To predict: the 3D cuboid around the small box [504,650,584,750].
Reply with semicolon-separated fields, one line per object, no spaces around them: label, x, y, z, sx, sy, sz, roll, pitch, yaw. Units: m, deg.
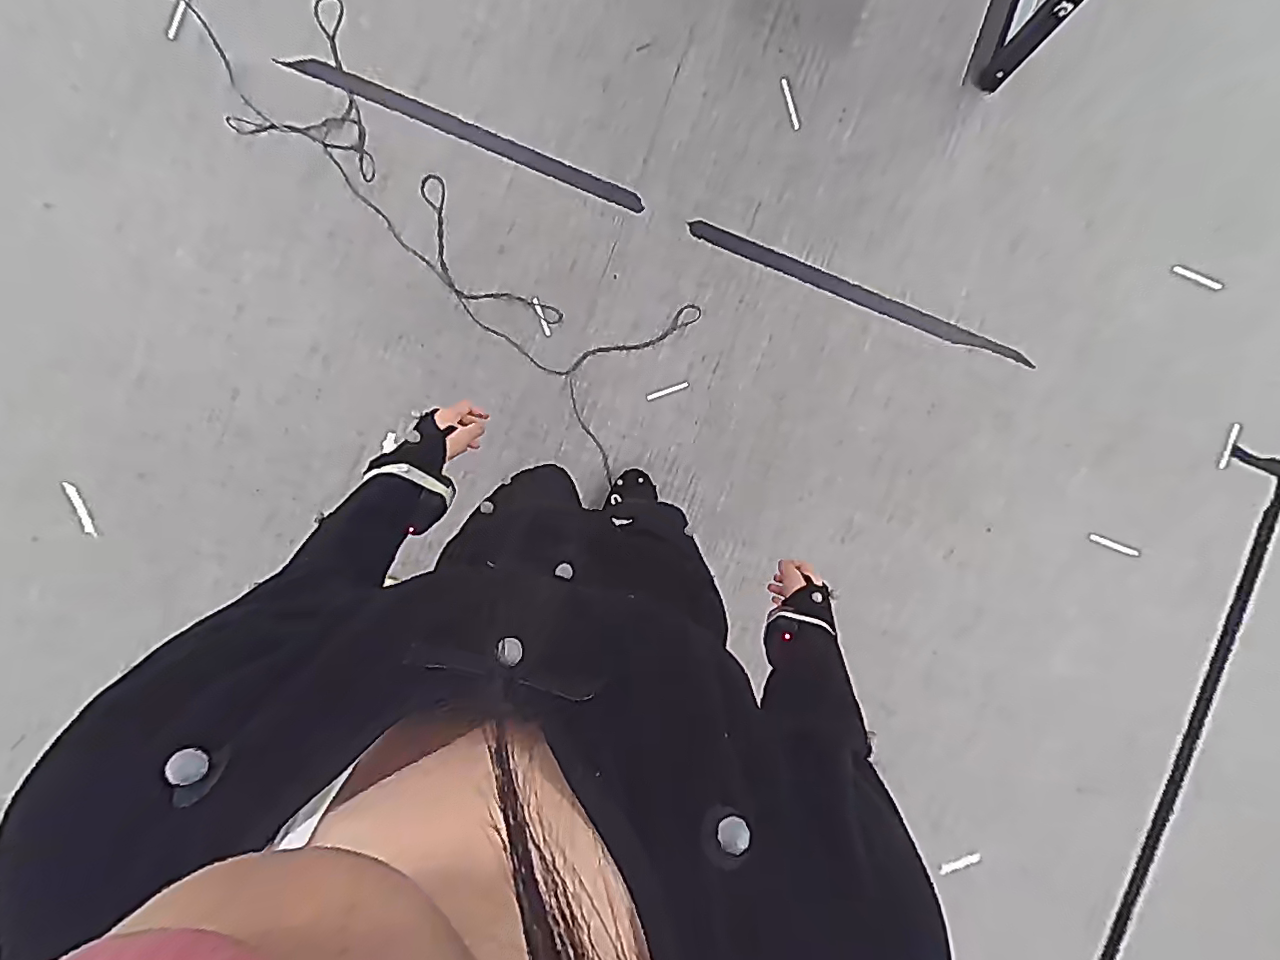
small box;-0.239;0.554;1.385;0.168;0.176;0.179;11;90;-4
